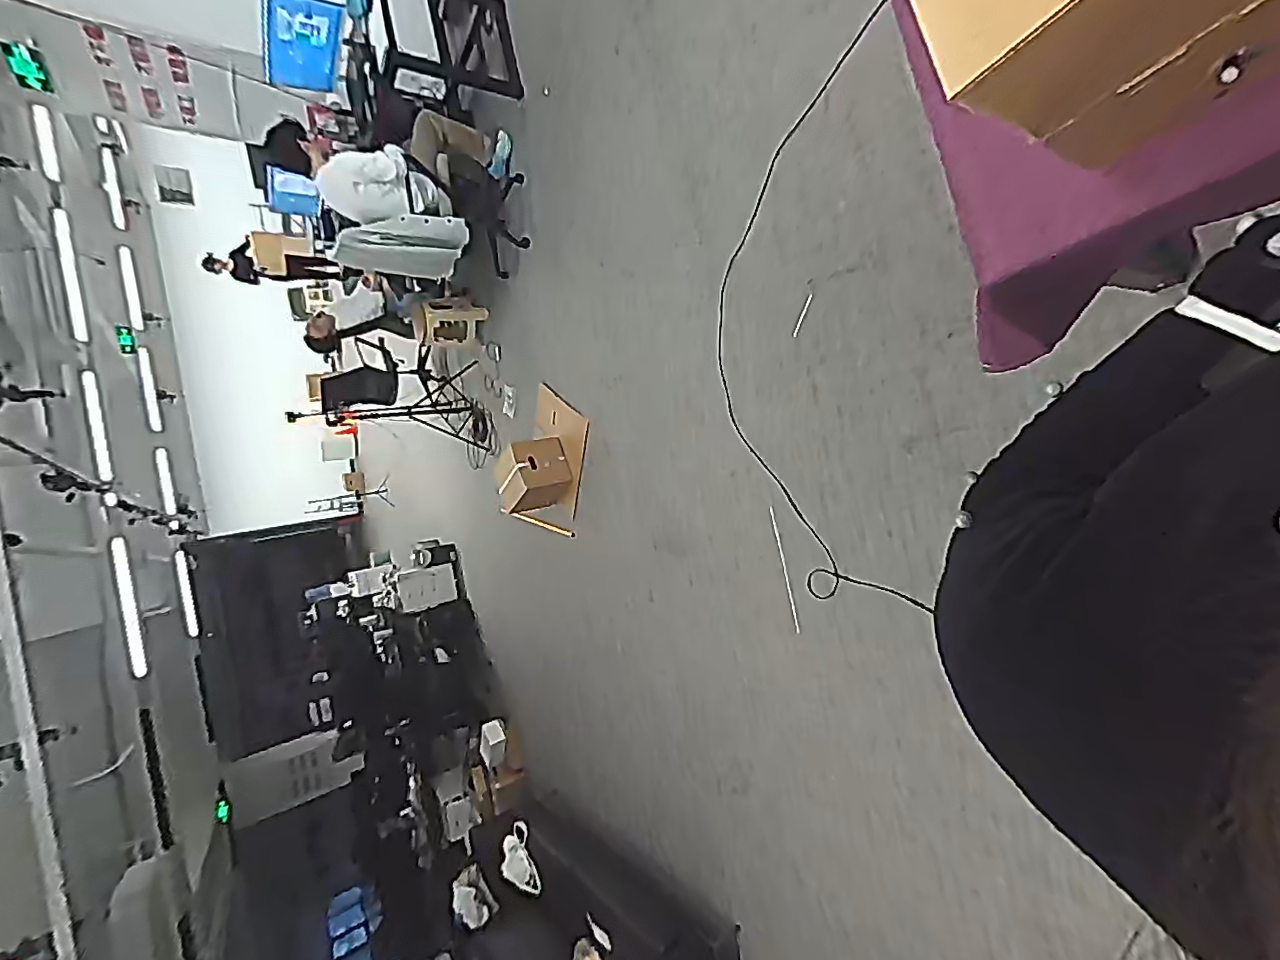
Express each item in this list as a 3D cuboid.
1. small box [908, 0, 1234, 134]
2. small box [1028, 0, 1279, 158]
[{"bbox_3d":[0.334,-0.413,0.421,0.179,0.176,0.168,-24,79,53],"label":"small box"},{"bbox_3d":[0.467,-0.438,0.511,0.168,0.176,0.179,-21,81,54],"label":"small box"}]
